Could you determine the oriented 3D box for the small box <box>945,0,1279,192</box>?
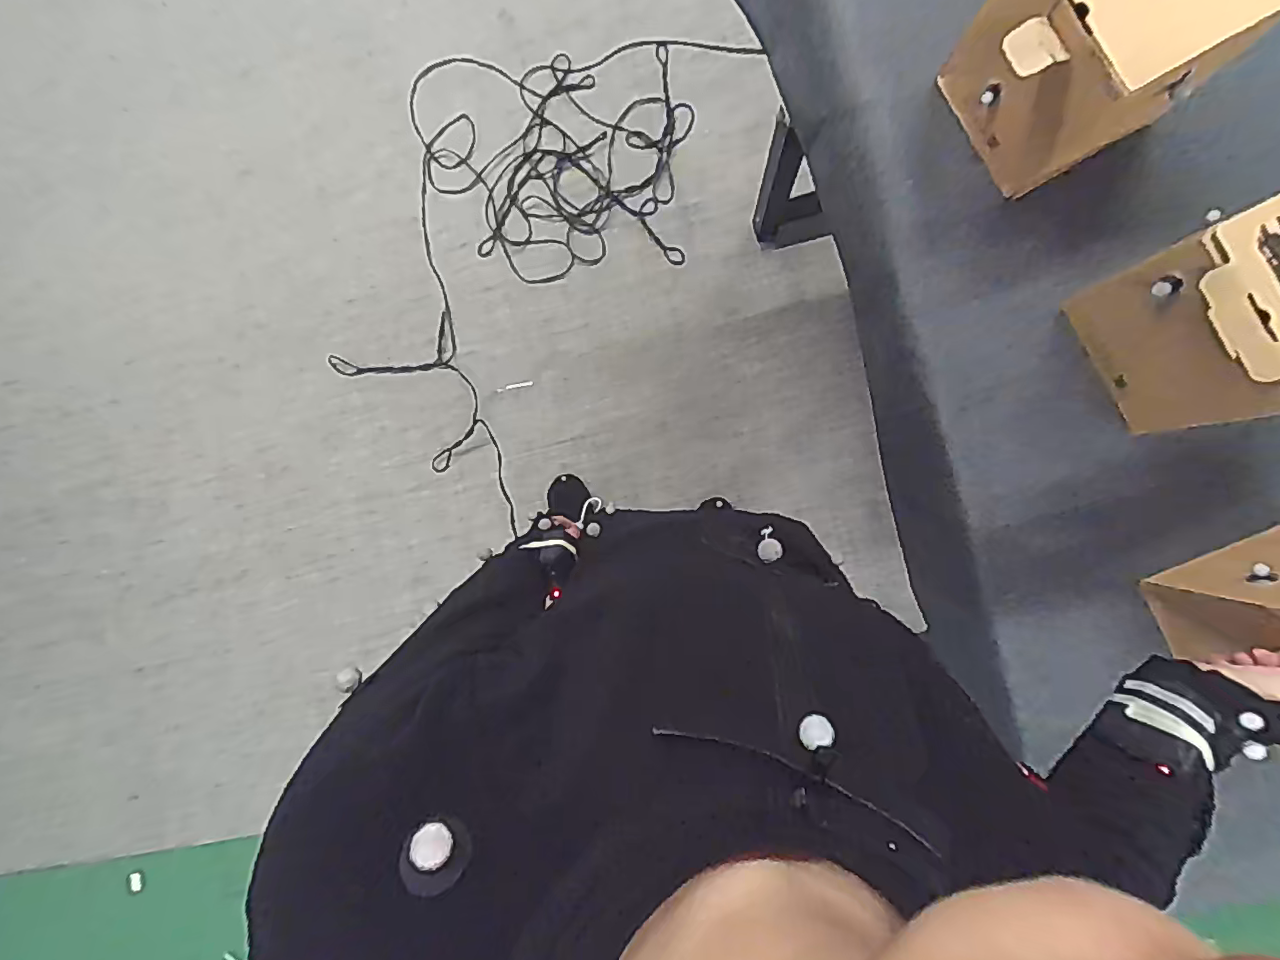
[{"bbox_3d":[0.444,-0.426,0.522,0.179,0.176,0.168,-29,87,4],"label":"small box"}]

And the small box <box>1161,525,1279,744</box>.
[{"bbox_3d":[0.646,0.148,0.497,0.179,0.176,0.168,-24,88,3],"label":"small box"}]
